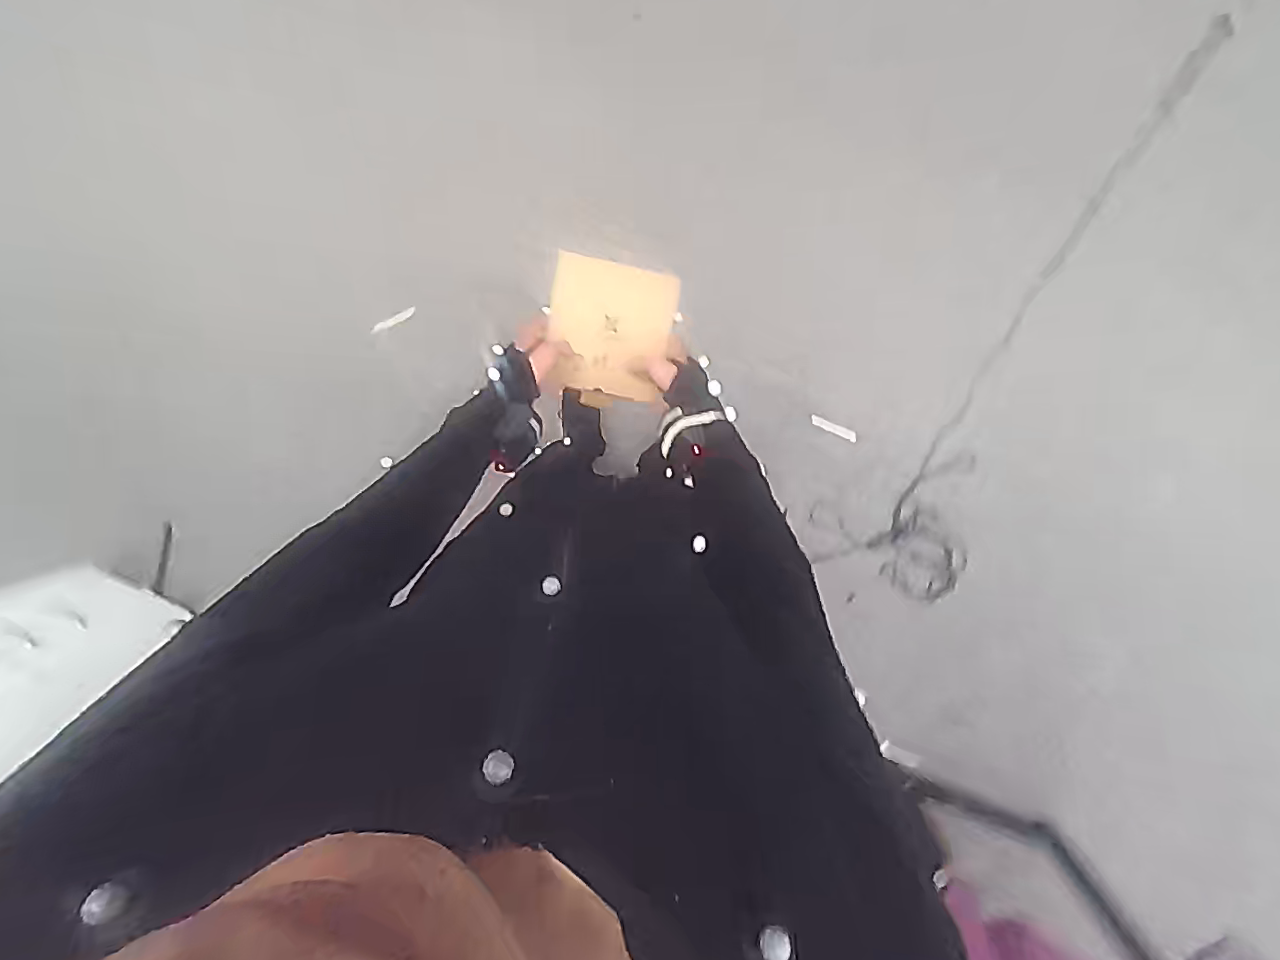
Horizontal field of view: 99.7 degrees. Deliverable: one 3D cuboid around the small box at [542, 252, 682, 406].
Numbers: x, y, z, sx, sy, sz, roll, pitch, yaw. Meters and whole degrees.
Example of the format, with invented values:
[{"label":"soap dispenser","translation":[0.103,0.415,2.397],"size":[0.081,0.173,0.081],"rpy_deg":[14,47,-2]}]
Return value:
[{"label":"small box","translation":[-0.045,-0.217,0.811],"size":[0.168,0.176,0.179],"rpy_deg":[11,101,-6]}]
